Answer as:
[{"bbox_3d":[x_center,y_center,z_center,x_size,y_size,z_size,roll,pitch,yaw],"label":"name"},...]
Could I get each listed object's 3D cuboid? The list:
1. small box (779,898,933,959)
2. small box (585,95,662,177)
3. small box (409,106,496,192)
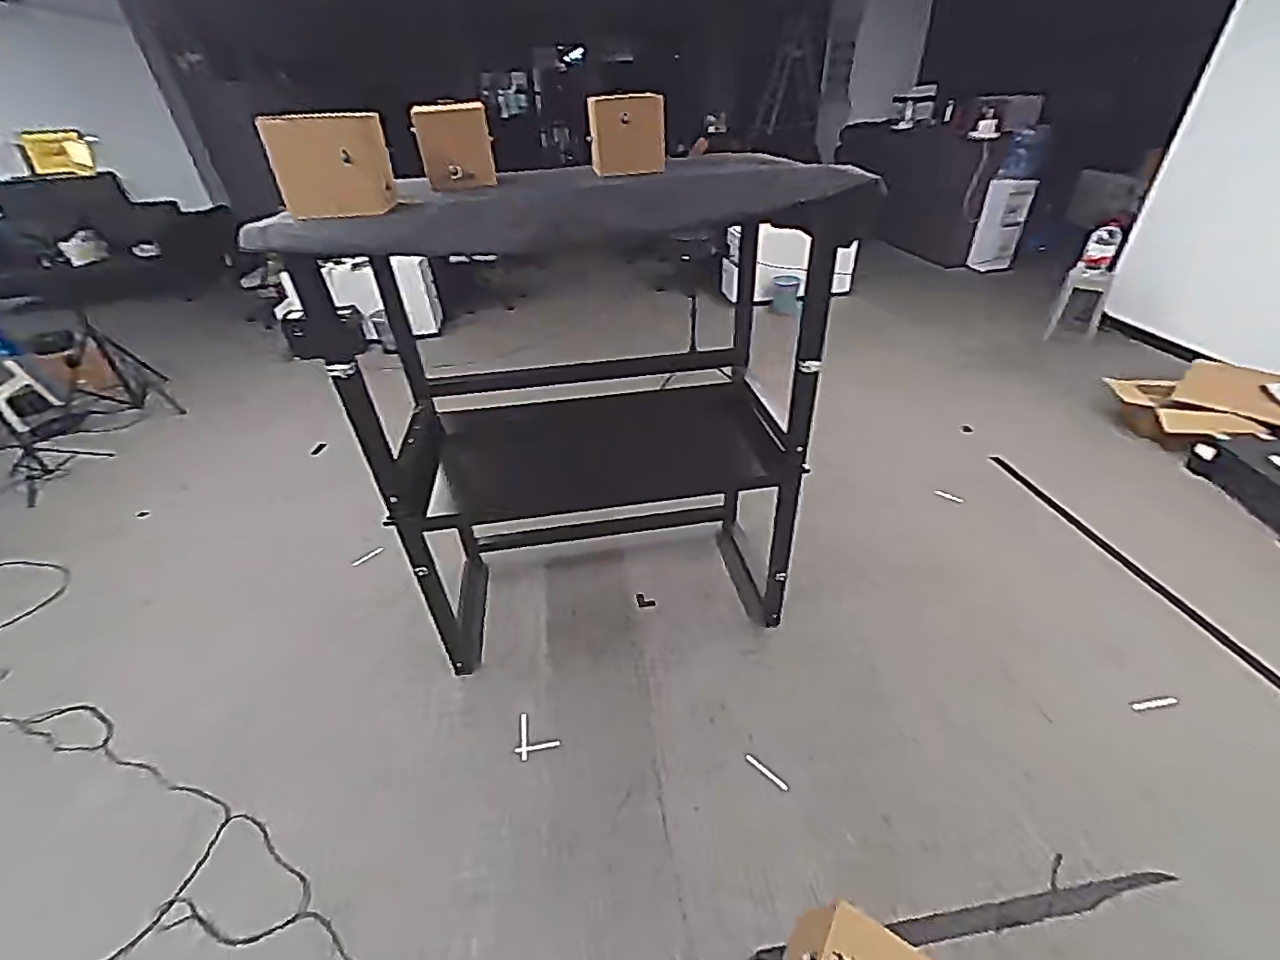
[{"bbox_3d":[0.237,0.583,0.564,0.179,0.176,0.168,26,50,19],"label":"small box"},{"bbox_3d":[-0.043,-0.904,1.421,0.179,0.176,0.168,-8,37,-6],"label":"small box"},{"bbox_3d":[-0.466,-0.832,1.360,0.168,0.176,0.179,-13,37,-11],"label":"small box"}]
